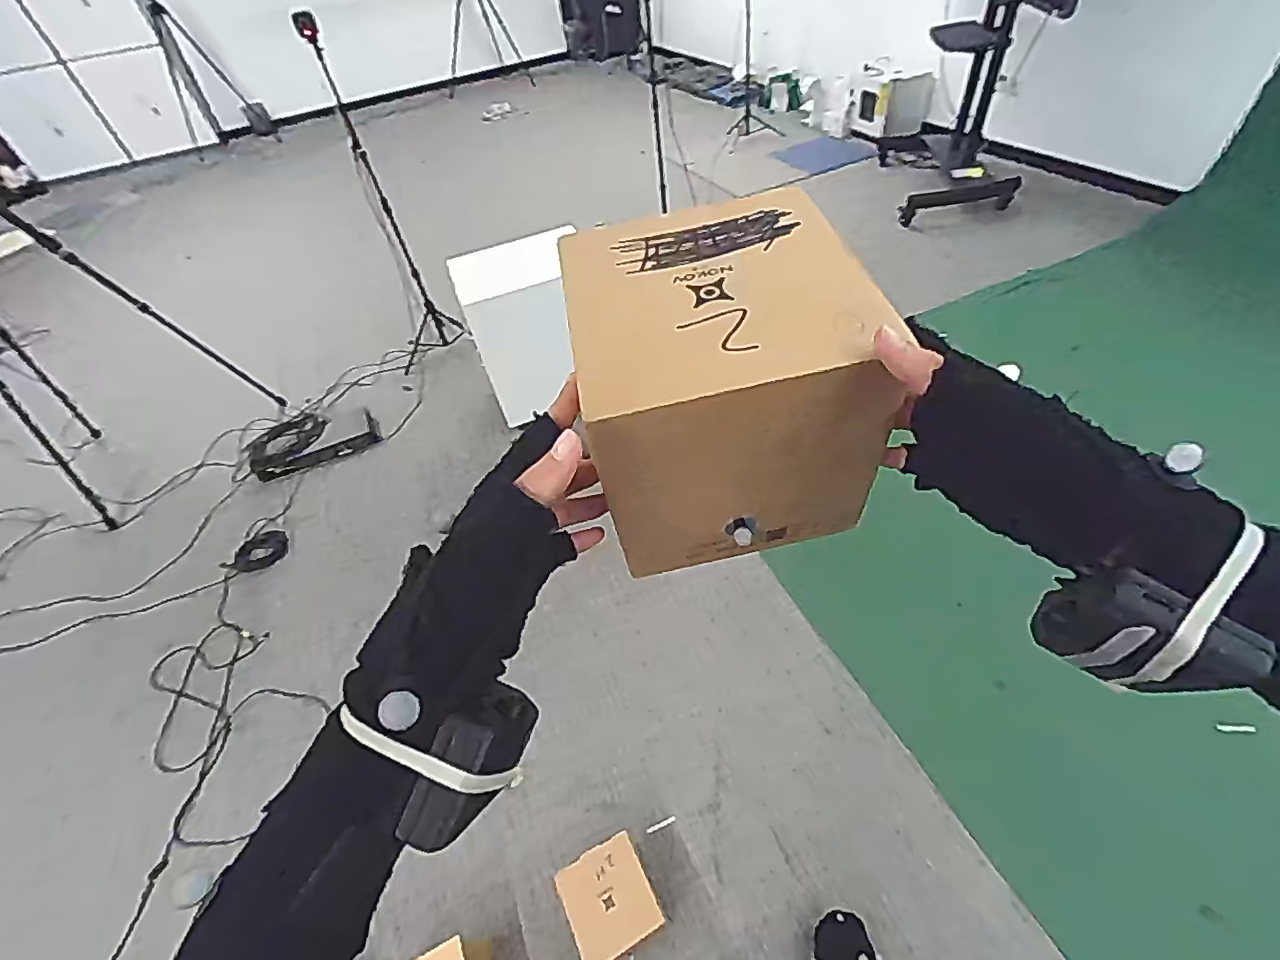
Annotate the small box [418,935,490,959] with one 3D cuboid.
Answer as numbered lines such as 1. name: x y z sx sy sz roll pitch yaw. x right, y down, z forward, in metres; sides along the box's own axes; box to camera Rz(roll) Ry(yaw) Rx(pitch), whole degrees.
1. small box: -0.375 1.019 1.030 0.168 0.176 0.179 -24 49 -13

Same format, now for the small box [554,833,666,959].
1. small box: -0.056 0.873 1.114 0.168 0.176 0.179 -25 49 -15
